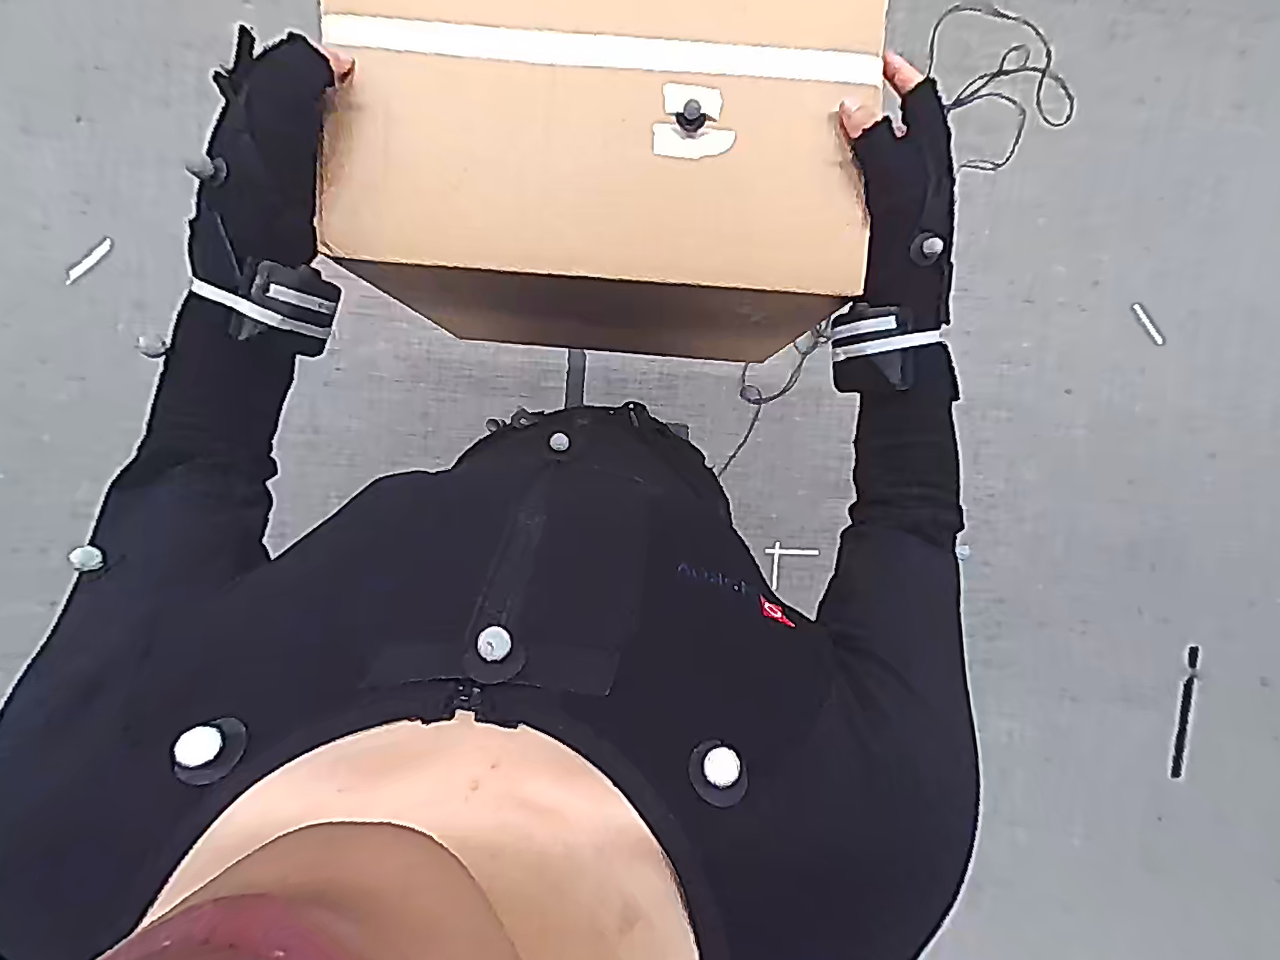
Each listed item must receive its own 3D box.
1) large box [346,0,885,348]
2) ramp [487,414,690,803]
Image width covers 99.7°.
[{"bbox_3d":[-0.022,-0.328,0.555,0.408,0.320,0.320,4,94,-1],"label":"large box"},{"bbox_3d":[-0.126,0.321,1.442,0.509,0.206,0.991,1,93,0],"label":"ramp"}]
